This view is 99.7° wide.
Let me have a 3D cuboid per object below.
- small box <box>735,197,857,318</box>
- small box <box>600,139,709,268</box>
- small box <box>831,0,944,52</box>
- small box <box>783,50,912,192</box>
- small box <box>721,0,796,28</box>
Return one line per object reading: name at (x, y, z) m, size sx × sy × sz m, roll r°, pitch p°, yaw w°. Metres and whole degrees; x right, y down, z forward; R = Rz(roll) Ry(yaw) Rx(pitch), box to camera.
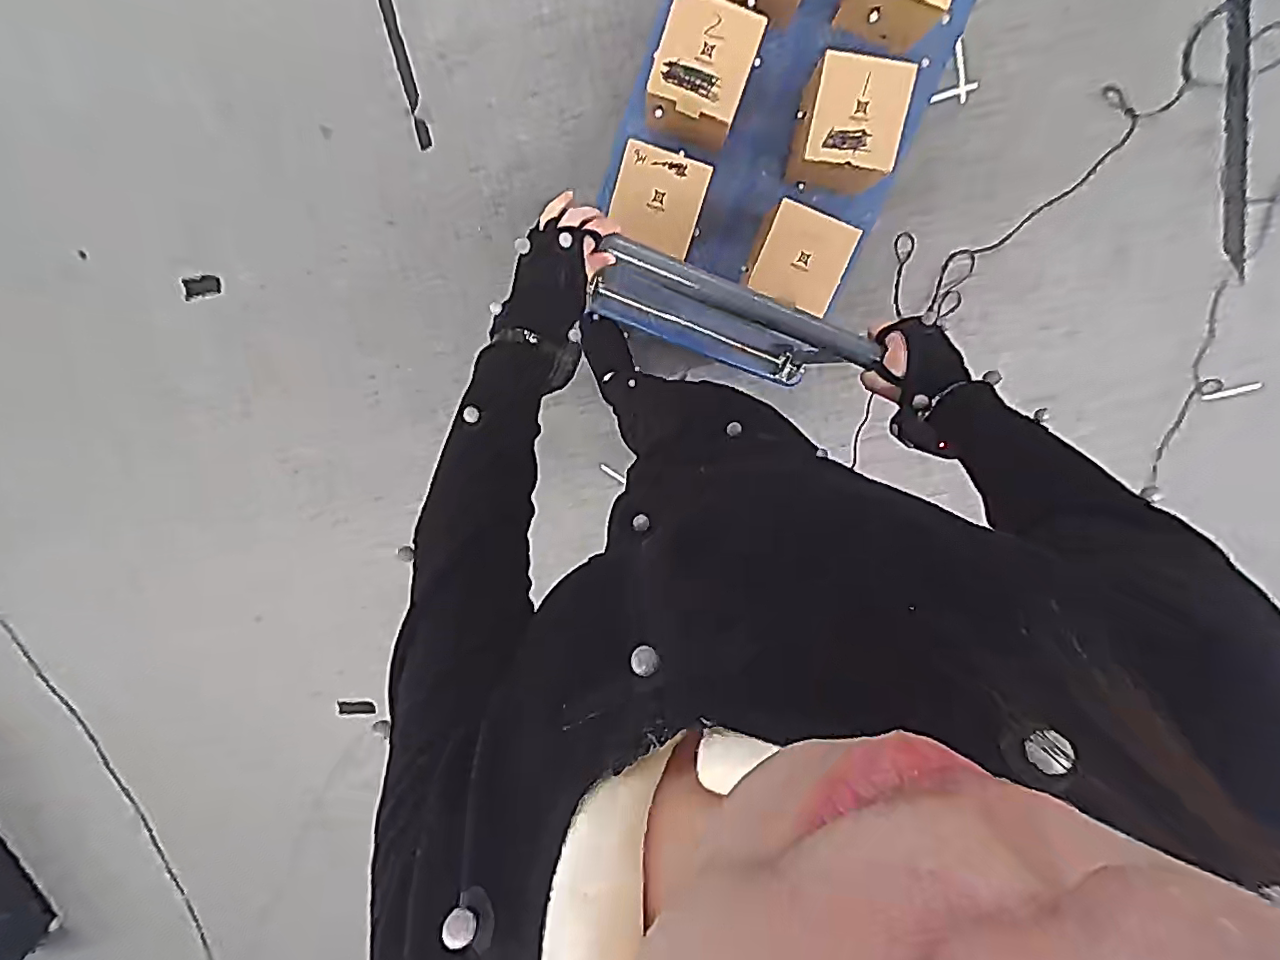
small box at (0.308, -0.445, 1.114) m, size 0.168 × 0.176 × 0.179 m, roll 21°, pitch 104°, yaw -5°
small box at (0.028, -0.543, 1.091) m, size 0.168 × 0.176 × 0.179 m, roll 17°, pitch 105°, yaw -4°
small box at (0.469, -0.932, 0.980) m, size 0.168 × 0.176 × 0.179 m, roll 18°, pitch 105°, yaw -4°
small box at (0.388, -0.681, 1.048) m, size 0.168 × 0.176 × 0.179 m, roll 9°, pitch 105°, yaw -1°
small box at (0.239, -0.979, 0.969) m, size 0.168 × 0.176 × 0.179 m, roll 22°, pitch 105°, yaw -5°
